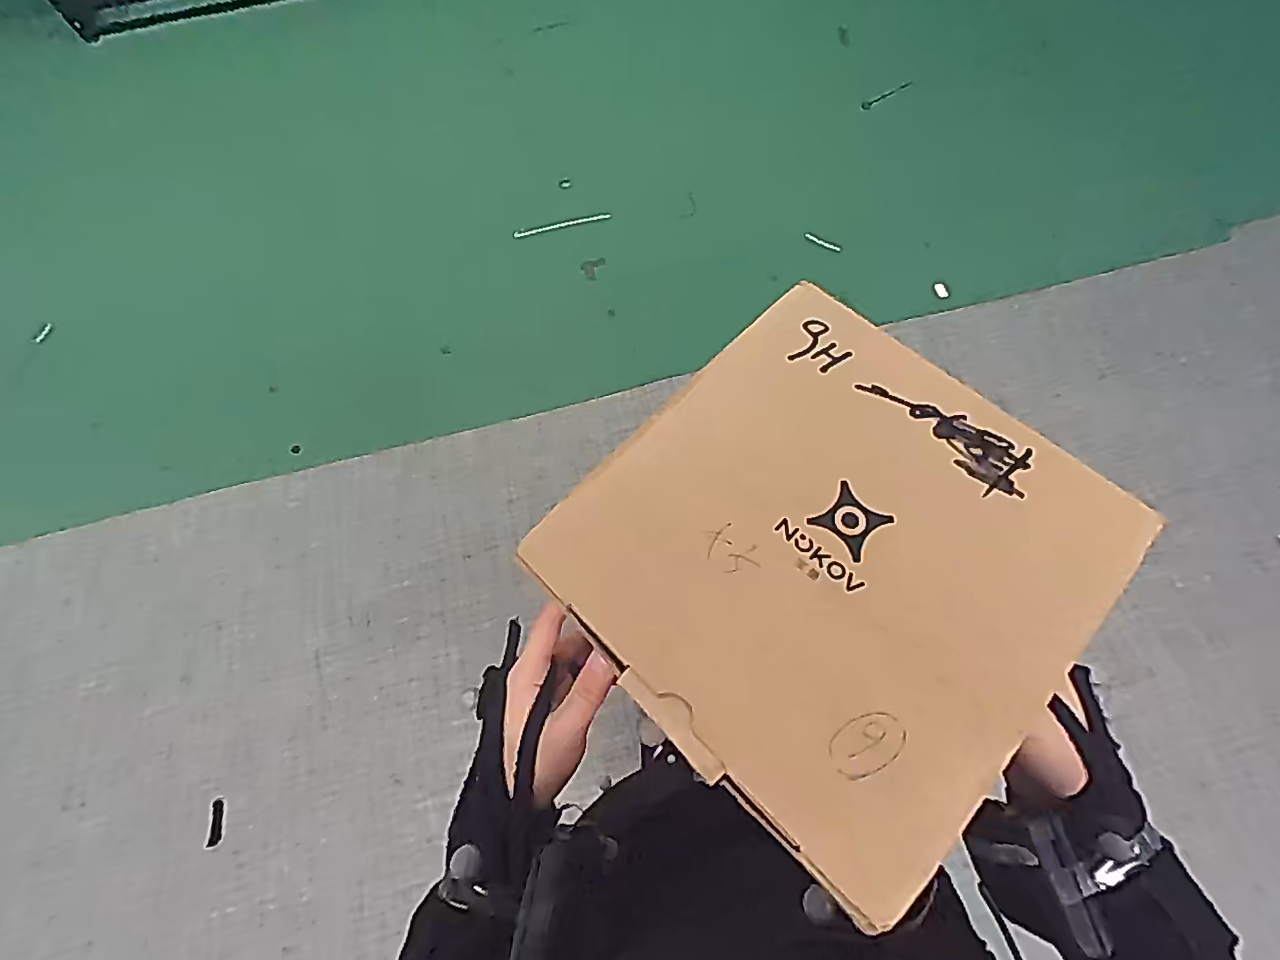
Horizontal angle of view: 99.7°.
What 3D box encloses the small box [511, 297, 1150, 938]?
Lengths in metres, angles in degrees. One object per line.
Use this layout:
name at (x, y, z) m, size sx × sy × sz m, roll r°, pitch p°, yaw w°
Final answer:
small box at (0.072, 0.056, 0.272) m, size 0.168 × 0.176 × 0.179 m, roll 42°, pitch 76°, yaw 18°
